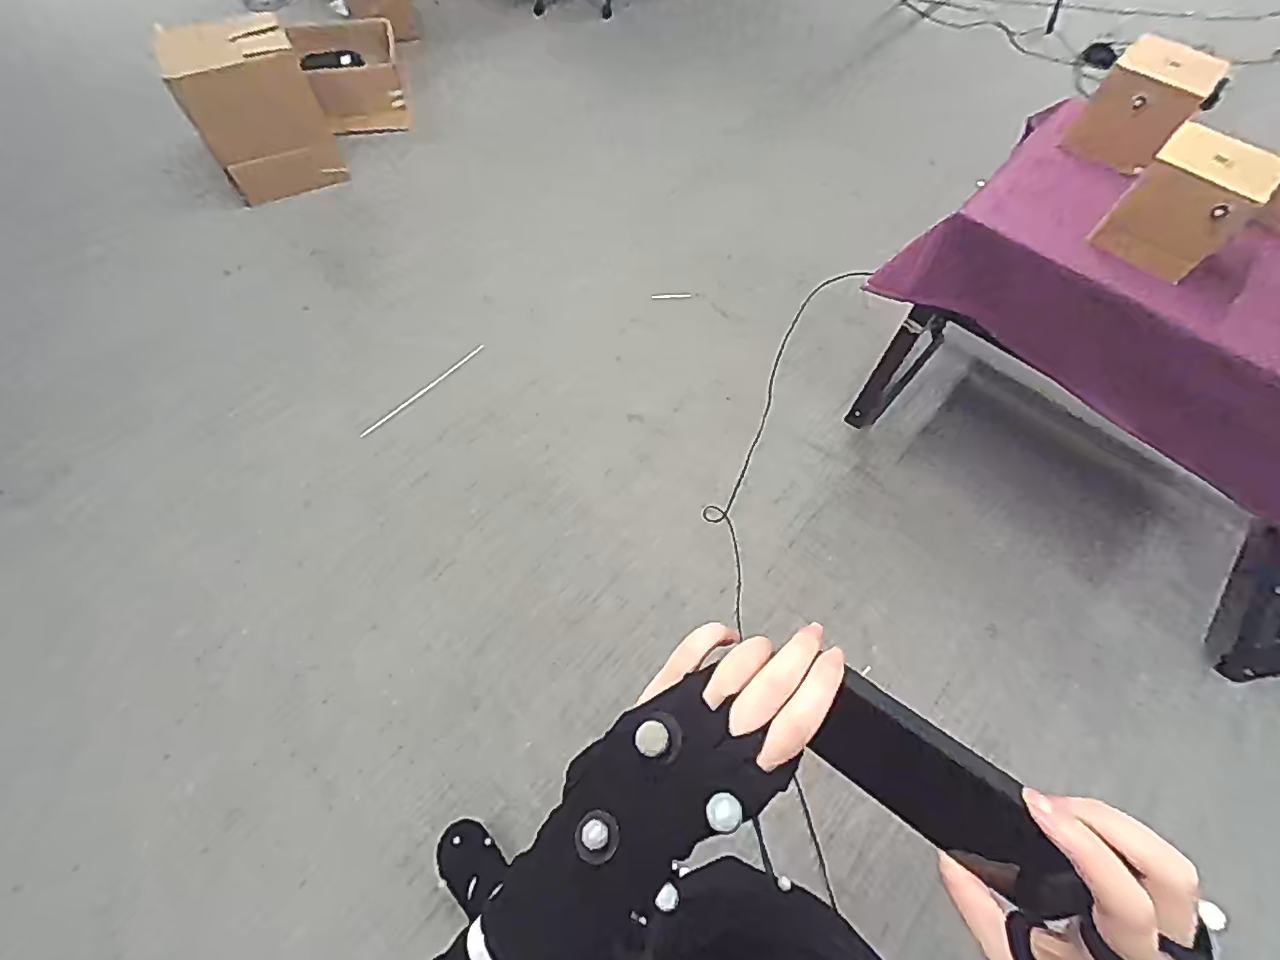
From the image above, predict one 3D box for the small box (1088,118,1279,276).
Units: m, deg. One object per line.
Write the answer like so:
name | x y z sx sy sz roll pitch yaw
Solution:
small box | 0.986 -0.510 0.988 0.179 0.176 0.168 41 68 17
